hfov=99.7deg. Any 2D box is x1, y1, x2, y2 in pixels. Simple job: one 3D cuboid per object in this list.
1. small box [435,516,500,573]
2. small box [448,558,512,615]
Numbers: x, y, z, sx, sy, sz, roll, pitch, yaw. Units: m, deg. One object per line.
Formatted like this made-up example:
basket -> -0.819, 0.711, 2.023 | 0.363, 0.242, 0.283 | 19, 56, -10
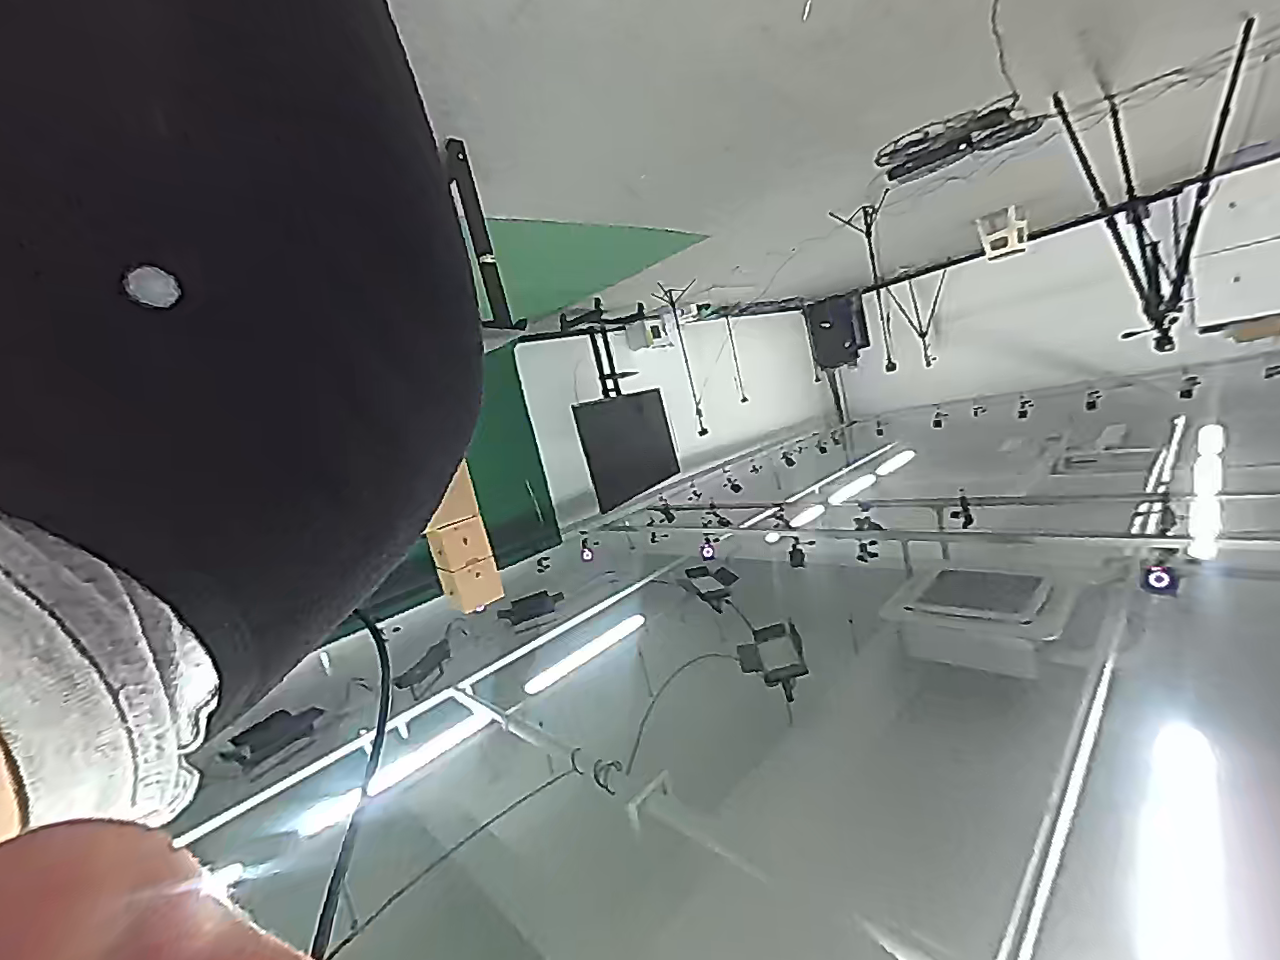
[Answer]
small box -> -0.664, 0.240, 2.064 | 0.168, 0.176, 0.179 | -21, -170, -36
small box -> -0.623, 0.398, 2.088 | 0.168, 0.176, 0.179 | -22, -169, -37
